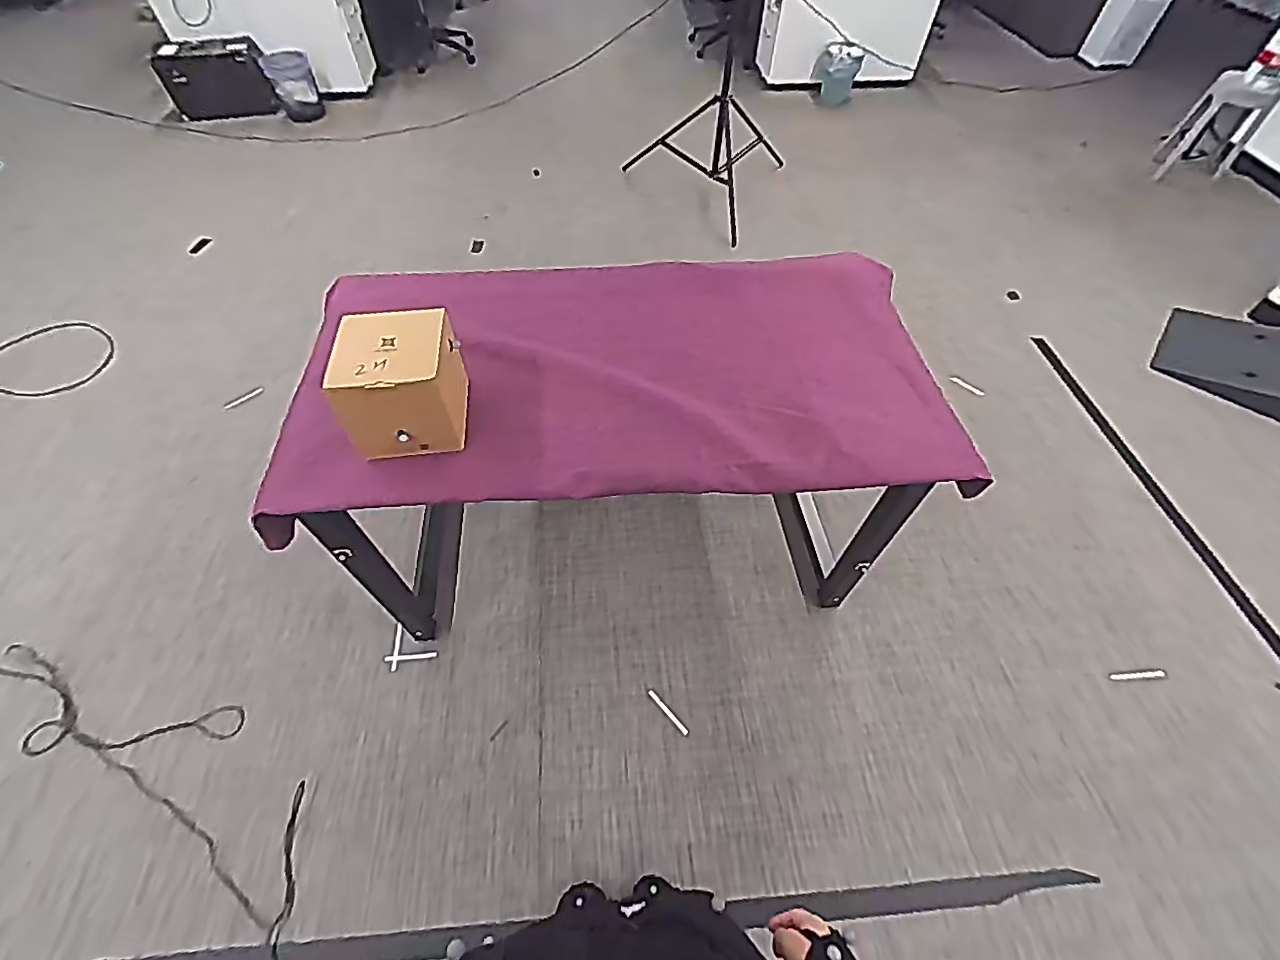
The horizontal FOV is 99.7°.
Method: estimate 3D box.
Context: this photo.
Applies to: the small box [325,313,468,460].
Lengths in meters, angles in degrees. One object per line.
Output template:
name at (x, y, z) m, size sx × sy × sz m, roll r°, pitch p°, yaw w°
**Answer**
small box at (-0.397, -0.157, 0.916) m, size 0.168 × 0.176 × 0.179 m, roll -6°, pitch 54°, yaw -5°
